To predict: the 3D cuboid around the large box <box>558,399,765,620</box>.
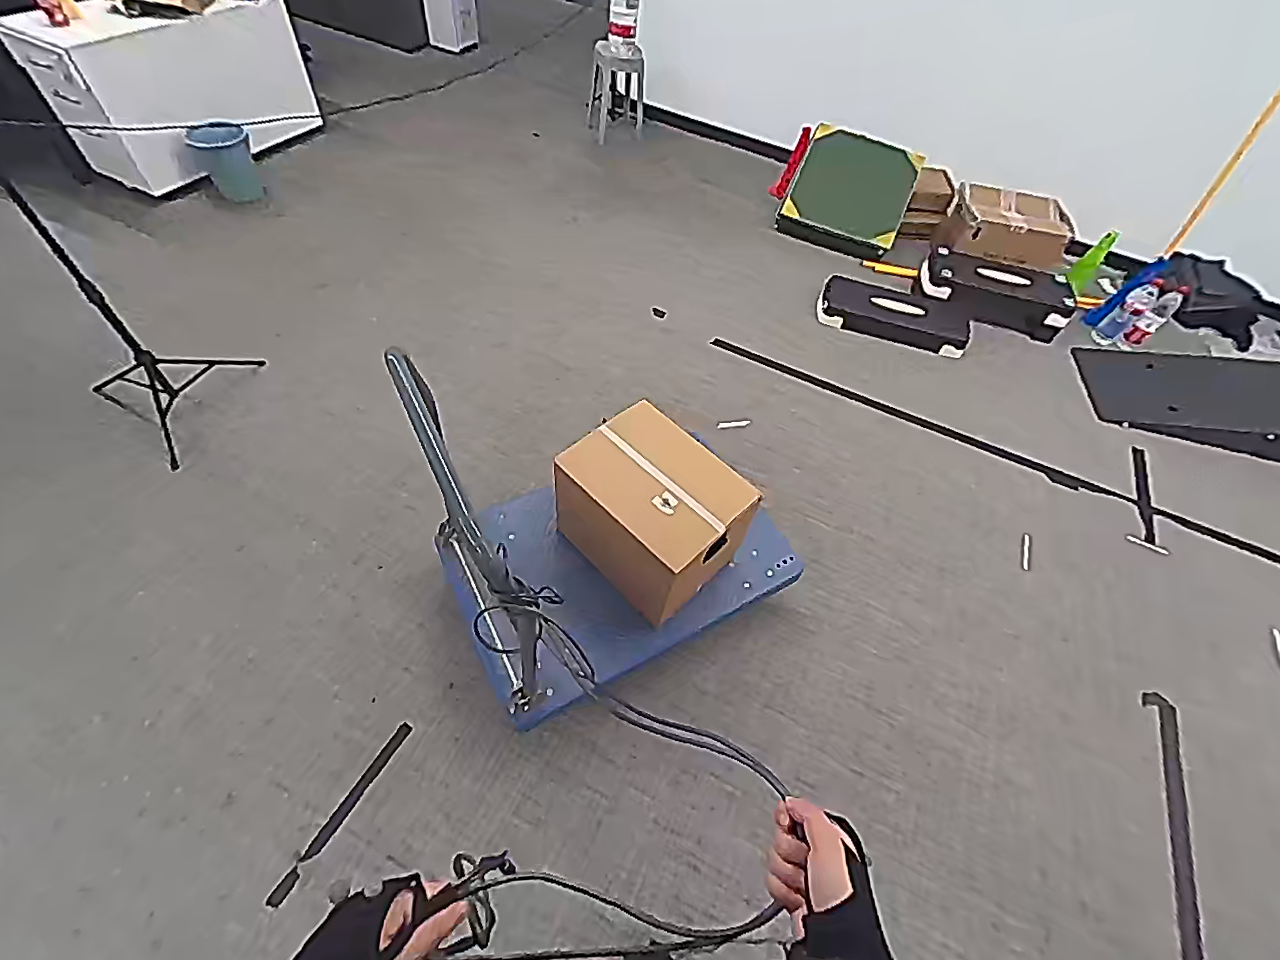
[{"bbox_3d":[0.031,0.074,1.383,0.320,0.320,0.408,-37,67,-27],"label":"large box"}]
